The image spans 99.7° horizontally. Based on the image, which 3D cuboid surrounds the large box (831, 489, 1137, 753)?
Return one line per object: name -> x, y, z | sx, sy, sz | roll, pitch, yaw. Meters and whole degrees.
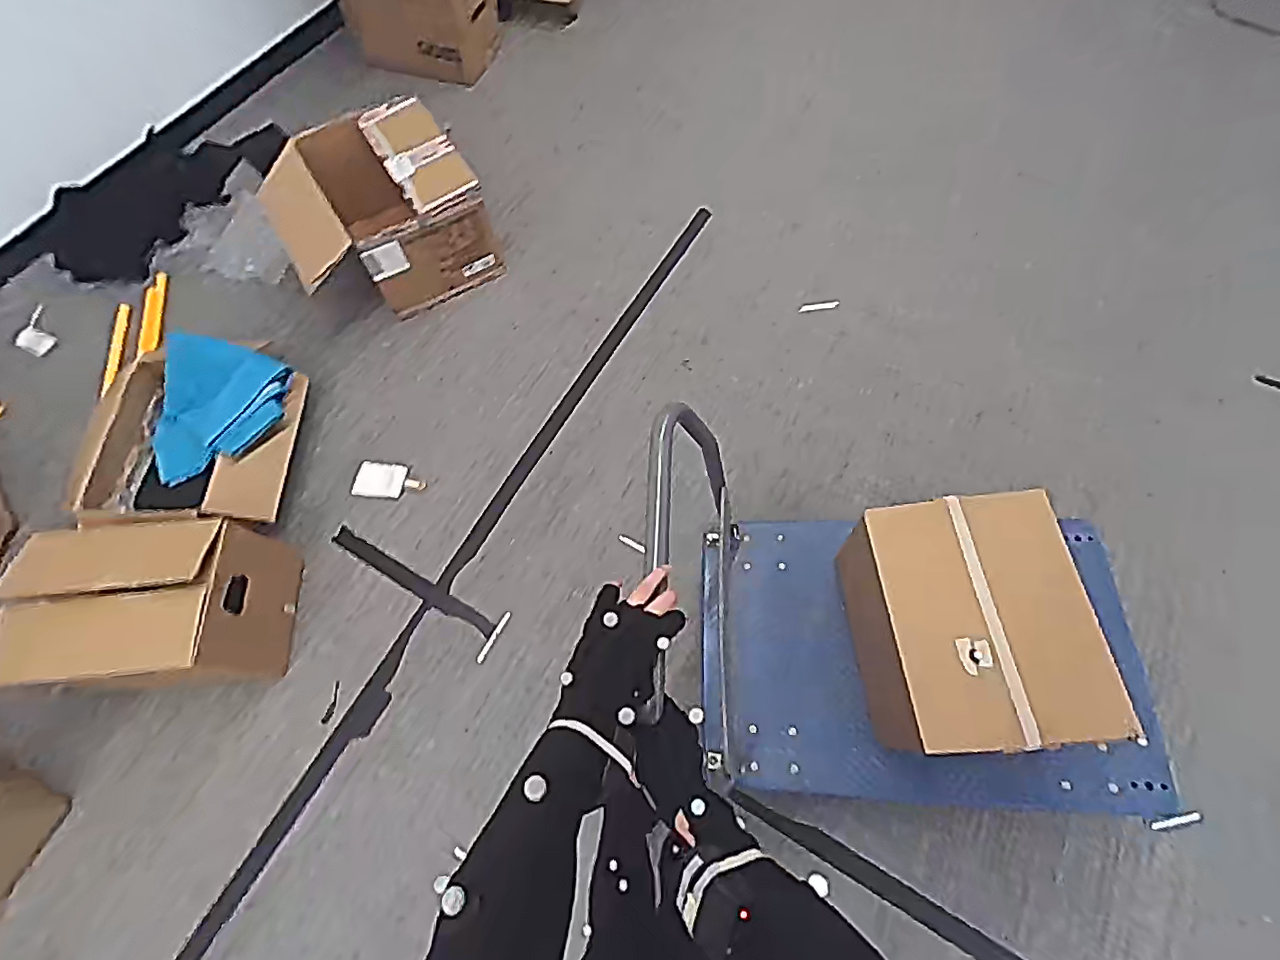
large box -> 0.591, 0.274, 1.032 | 0.320, 0.320, 0.408 | -9, 66, 6
